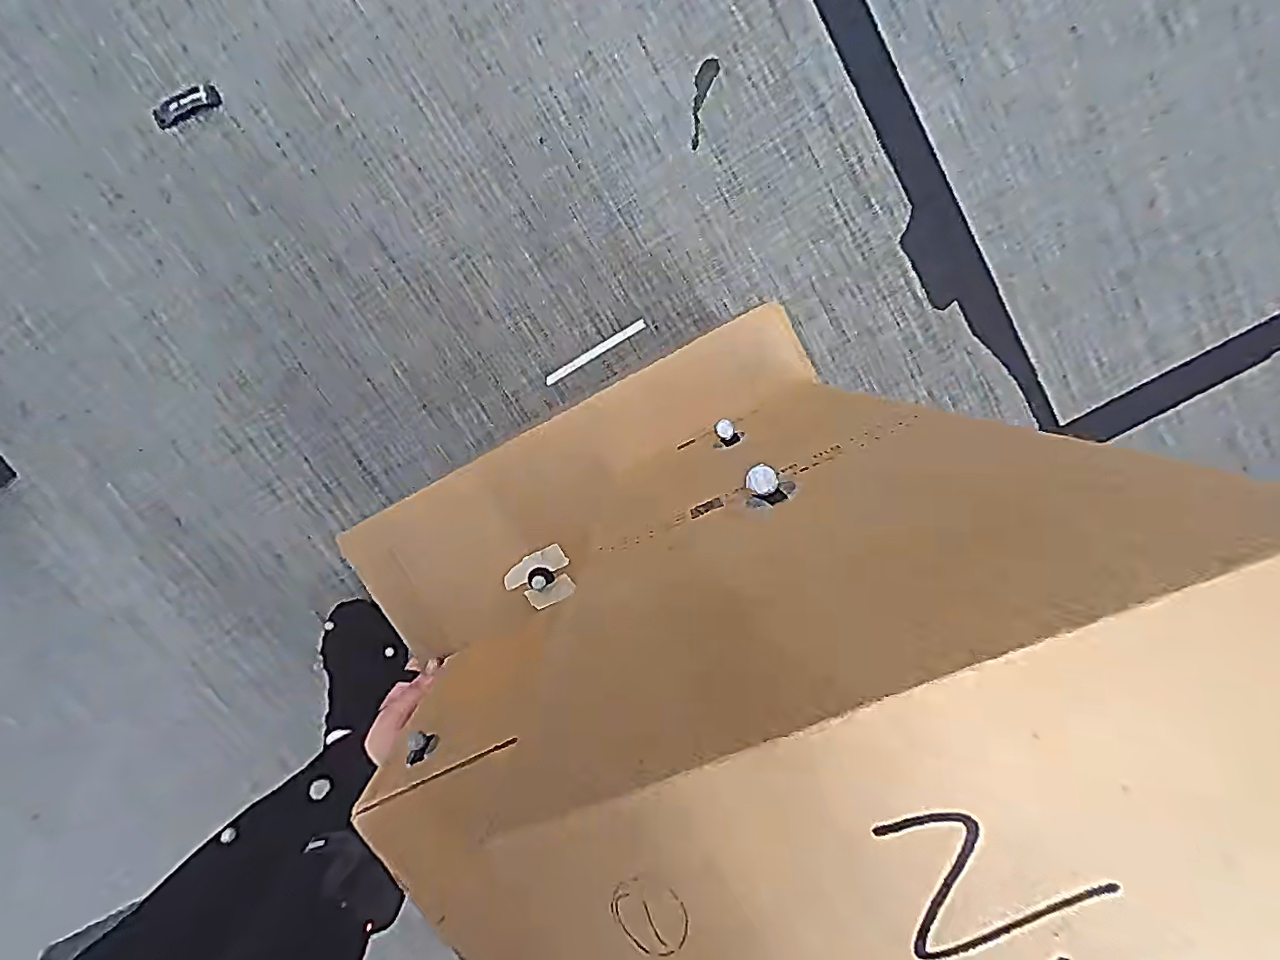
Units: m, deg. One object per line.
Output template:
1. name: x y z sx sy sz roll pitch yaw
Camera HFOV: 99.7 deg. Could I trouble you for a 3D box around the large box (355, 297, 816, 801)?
1. large box: 0.007 0.048 0.600 0.408 0.320 0.320 -28 100 8
